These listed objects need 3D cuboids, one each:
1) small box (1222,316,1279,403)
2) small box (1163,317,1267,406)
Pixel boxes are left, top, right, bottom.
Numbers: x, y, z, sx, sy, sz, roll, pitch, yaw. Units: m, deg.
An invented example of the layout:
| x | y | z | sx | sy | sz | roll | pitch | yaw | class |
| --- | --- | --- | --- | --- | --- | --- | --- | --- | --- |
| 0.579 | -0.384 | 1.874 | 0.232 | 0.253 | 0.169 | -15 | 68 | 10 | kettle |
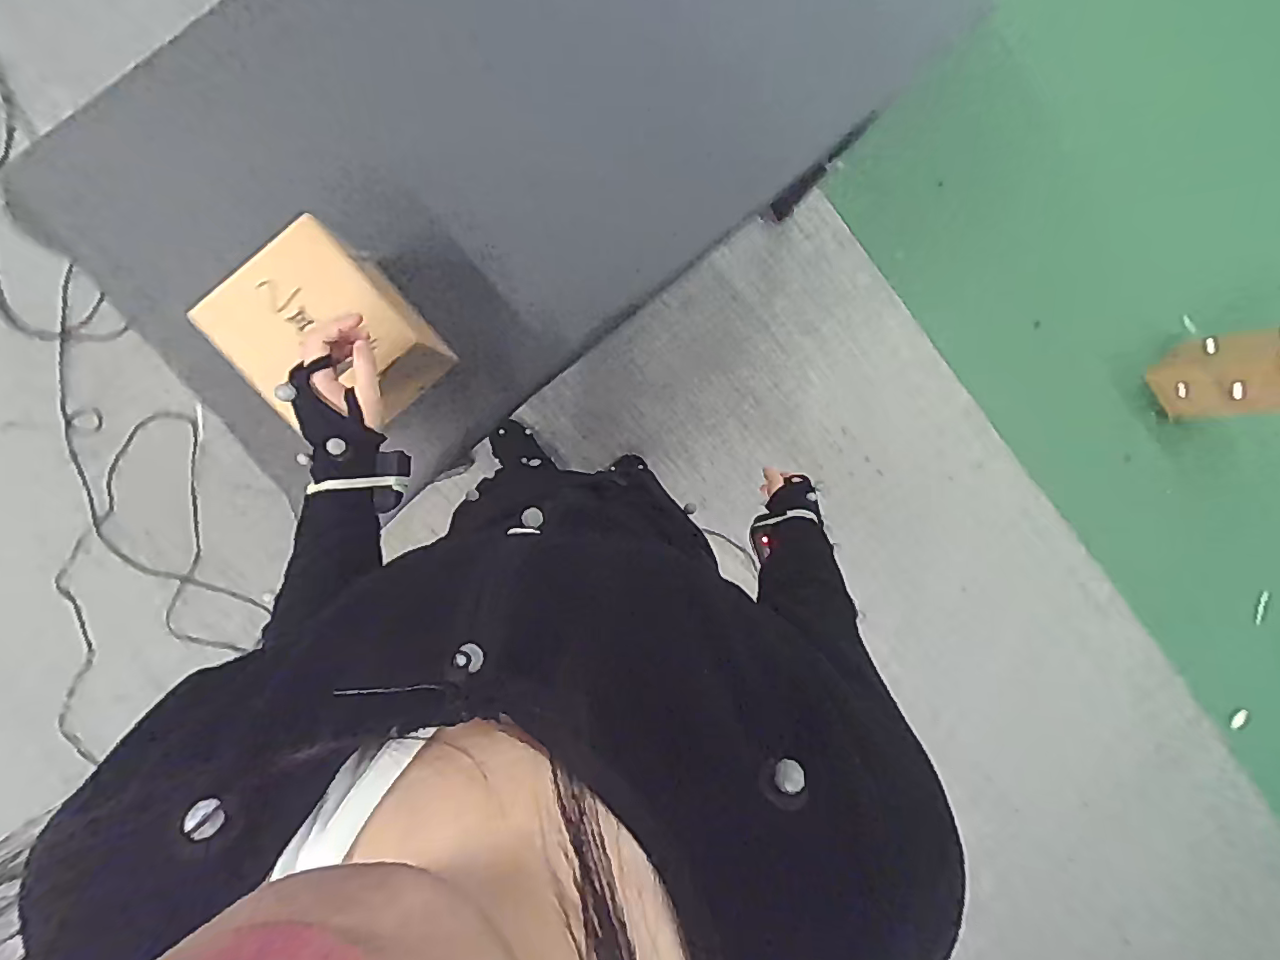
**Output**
| x | y | z | sx | sy | sz | roll | pitch | yaw | class |
| --- | --- | --- | --- | --- | --- | --- | --- | --- | --- |
| 1.645 | -0.311 | 1.352 | 0.179 | 0.176 | 0.168 | -38 | 96 | 0 | small box |
| 1.636 | -0.322 | 1.517 | 0.179 | 0.176 | 0.168 | -40 | 96 | -1 | small box |
